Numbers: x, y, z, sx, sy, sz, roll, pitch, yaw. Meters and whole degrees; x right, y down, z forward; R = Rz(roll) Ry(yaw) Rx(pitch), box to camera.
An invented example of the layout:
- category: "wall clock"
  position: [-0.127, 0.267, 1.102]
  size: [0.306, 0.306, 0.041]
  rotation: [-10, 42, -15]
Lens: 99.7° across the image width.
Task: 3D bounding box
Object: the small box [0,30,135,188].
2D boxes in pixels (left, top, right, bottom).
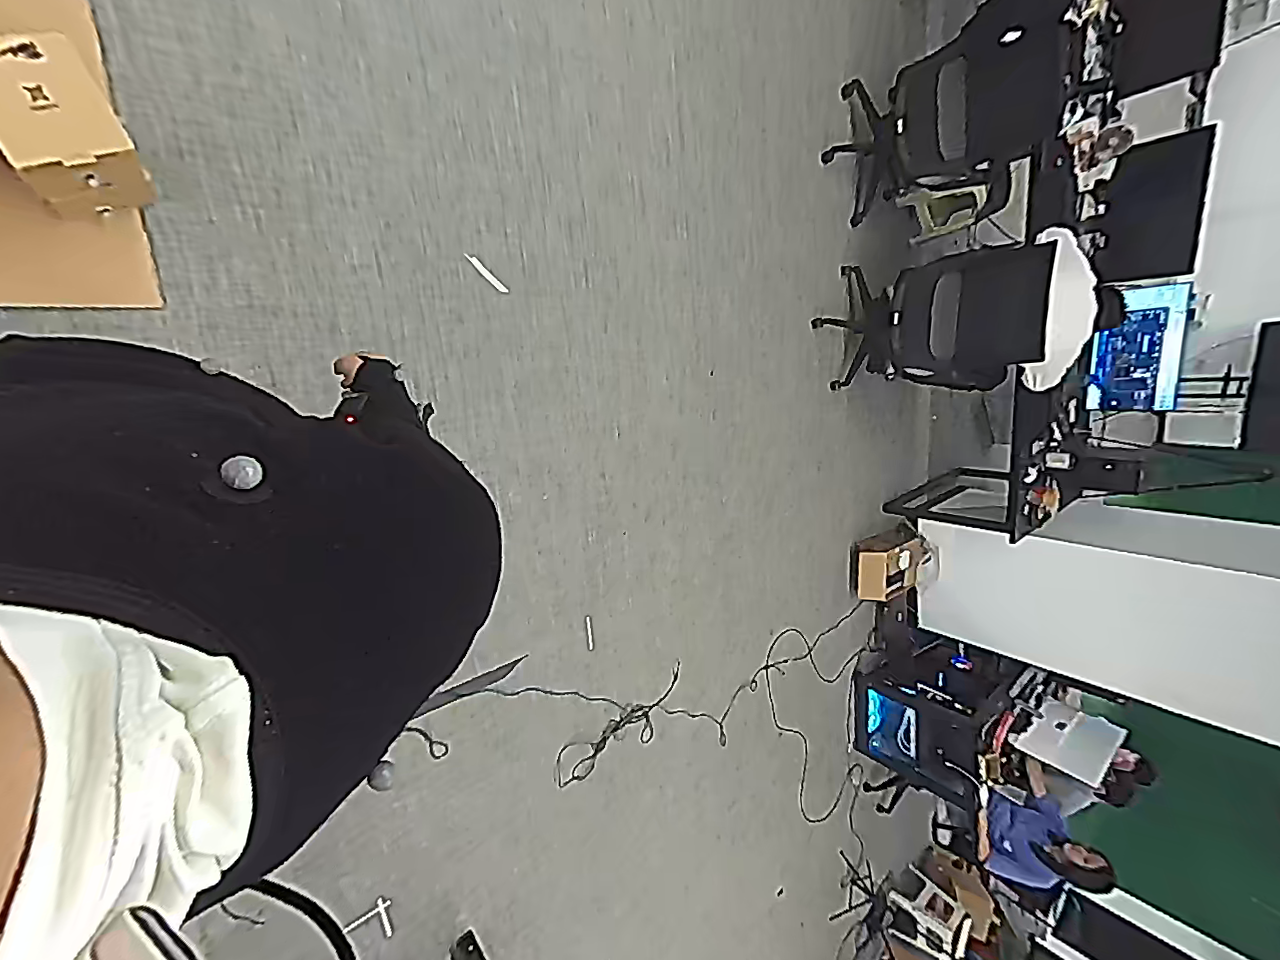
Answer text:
- category: "small box"
  position: [-1.006, -0.614, 0.914]
  size: [0.168, 0.176, 0.179]
  rotation: [-34, 118, -30]

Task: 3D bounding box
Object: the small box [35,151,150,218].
- category: "small box"
  position: [-1.102, -0.637, 1.045]
  size: [0.168, 0.176, 0.179]
  rotation: [-35, 117, -29]
